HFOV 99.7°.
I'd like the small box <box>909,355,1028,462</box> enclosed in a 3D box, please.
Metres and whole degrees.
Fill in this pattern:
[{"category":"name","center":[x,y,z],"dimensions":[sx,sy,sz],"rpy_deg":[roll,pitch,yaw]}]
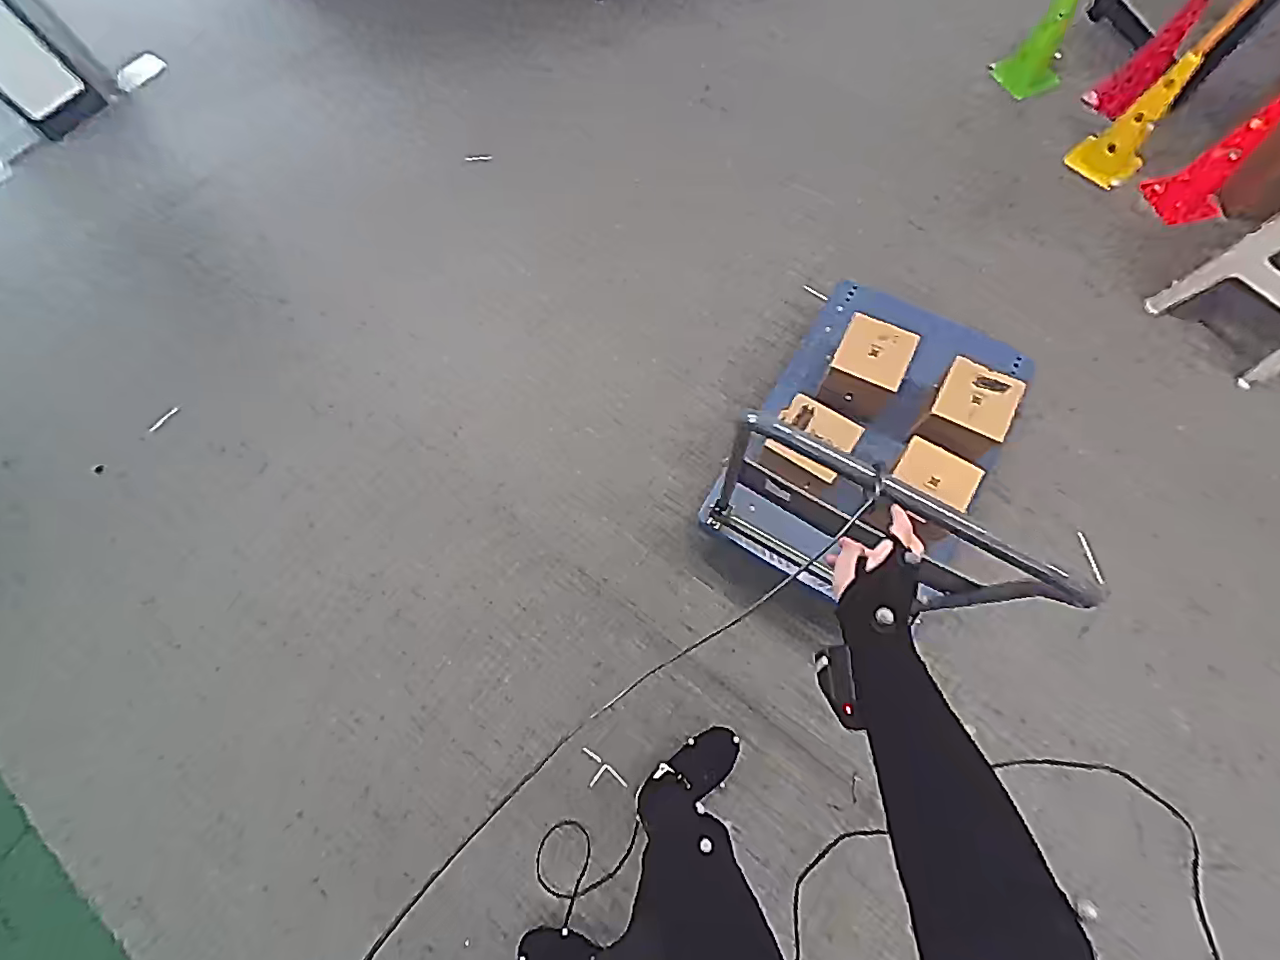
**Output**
[{"category":"small box","center":[0.795,-0.167,1.327],"dimensions":[0.168,0.176,0.179],"rpy_deg":[28,76,13]}]

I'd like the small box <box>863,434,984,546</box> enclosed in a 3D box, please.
[{"category":"small box","center":[0.653,0.029,1.268],"dimensions":[0.168,0.176,0.179],"rpy_deg":[32,76,13]}]
